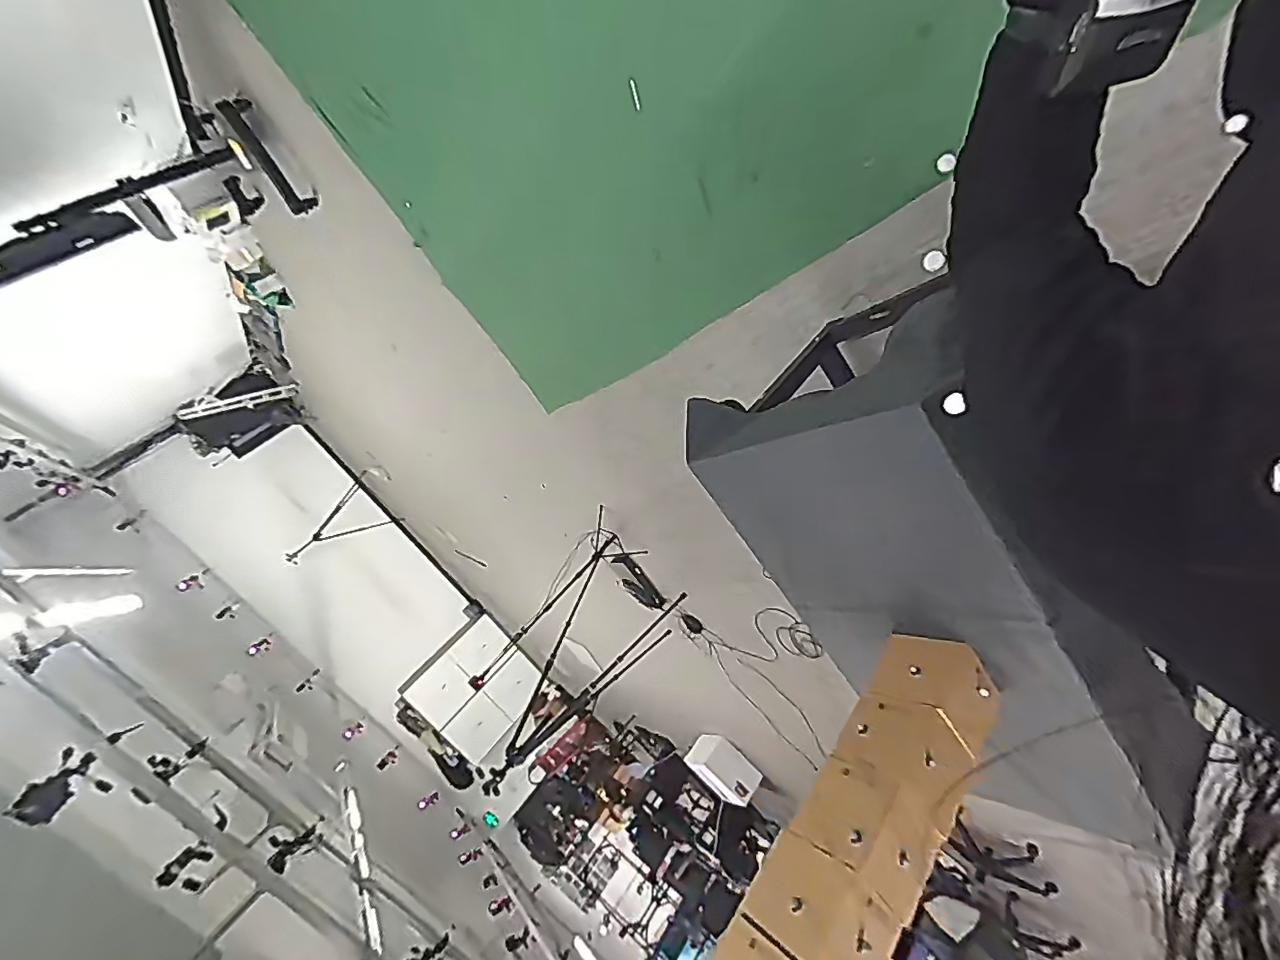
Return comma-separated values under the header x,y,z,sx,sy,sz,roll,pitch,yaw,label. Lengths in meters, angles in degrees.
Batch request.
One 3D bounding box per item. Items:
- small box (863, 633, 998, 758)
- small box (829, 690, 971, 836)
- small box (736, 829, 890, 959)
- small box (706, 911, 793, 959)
x,y,z,sx,sy,sz,roll,pitch,yaw,label
0.625,0.450,1.162,0.168,0.176,0.179,53,150,-15,small box
0.524,0.555,1.088,0.179,0.176,0.168,52,152,-13,small box
0.311,0.763,0.953,0.168,0.176,0.179,52,151,-13,small box
0.207,0.865,0.873,0.179,0.176,0.168,52,152,-14,small box
